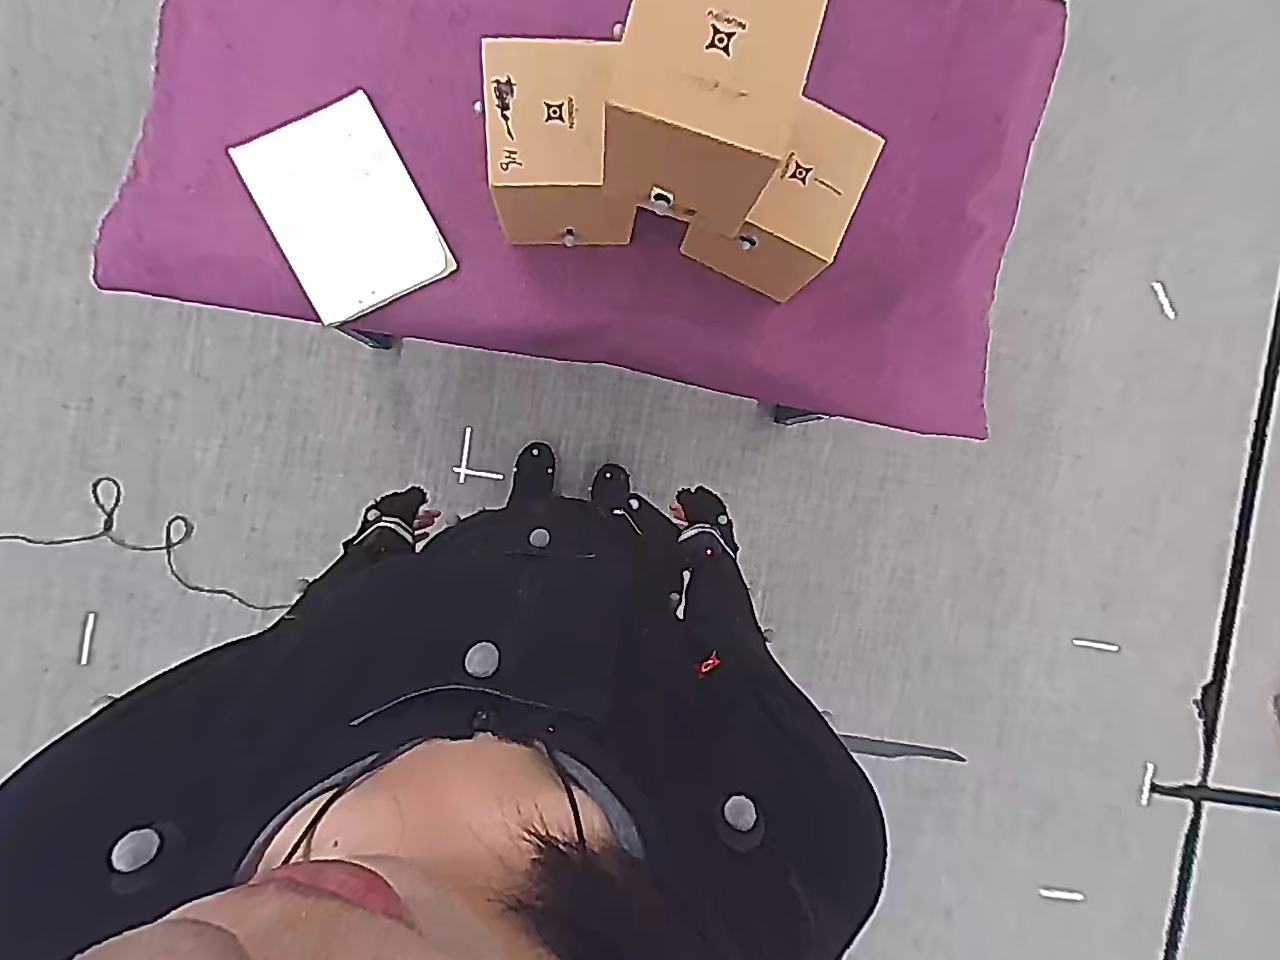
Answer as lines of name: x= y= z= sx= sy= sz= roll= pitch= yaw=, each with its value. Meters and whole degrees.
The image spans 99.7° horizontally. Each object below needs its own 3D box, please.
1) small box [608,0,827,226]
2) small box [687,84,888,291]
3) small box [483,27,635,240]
small box: x=0.065 y=-0.393 z=0.541 sx=0.168 sy=0.176 sz=0.179 roll=15 pitch=91 yaw=-4
small box: x=0.178 y=-0.377 z=0.714 sx=0.179 sy=0.176 sz=0.168 roll=25 pitch=89 yaw=-5
small box: x=-0.095 y=-0.423 z=0.689 sx=0.179 sy=0.176 sz=0.168 roll=-2 pitch=91 yaw=-6
